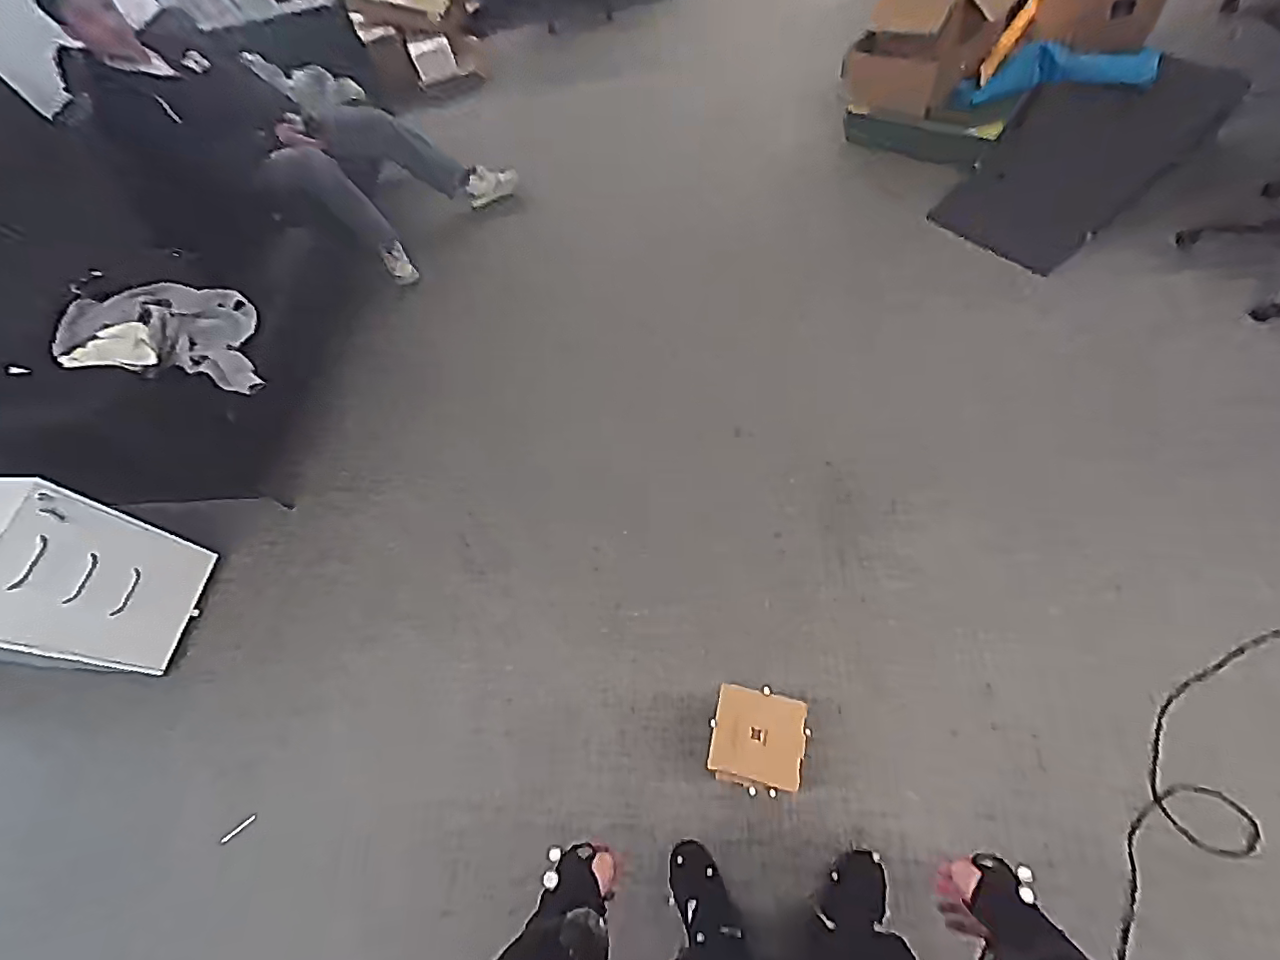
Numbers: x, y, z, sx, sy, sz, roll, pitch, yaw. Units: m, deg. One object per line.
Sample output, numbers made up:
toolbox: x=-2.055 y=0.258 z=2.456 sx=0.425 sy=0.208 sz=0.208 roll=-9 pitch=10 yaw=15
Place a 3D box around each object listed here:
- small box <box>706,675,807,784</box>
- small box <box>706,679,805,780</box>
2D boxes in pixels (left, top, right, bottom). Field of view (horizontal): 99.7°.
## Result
small box: x=0.249 y=0.530 z=1.147 sx=0.179 sy=0.176 sz=0.168 roll=8 pitch=62 yaw=18
small box: x=0.276 y=0.598 z=1.283 sx=0.179 sy=0.176 sz=0.168 roll=-24 pitch=58 yaw=1
